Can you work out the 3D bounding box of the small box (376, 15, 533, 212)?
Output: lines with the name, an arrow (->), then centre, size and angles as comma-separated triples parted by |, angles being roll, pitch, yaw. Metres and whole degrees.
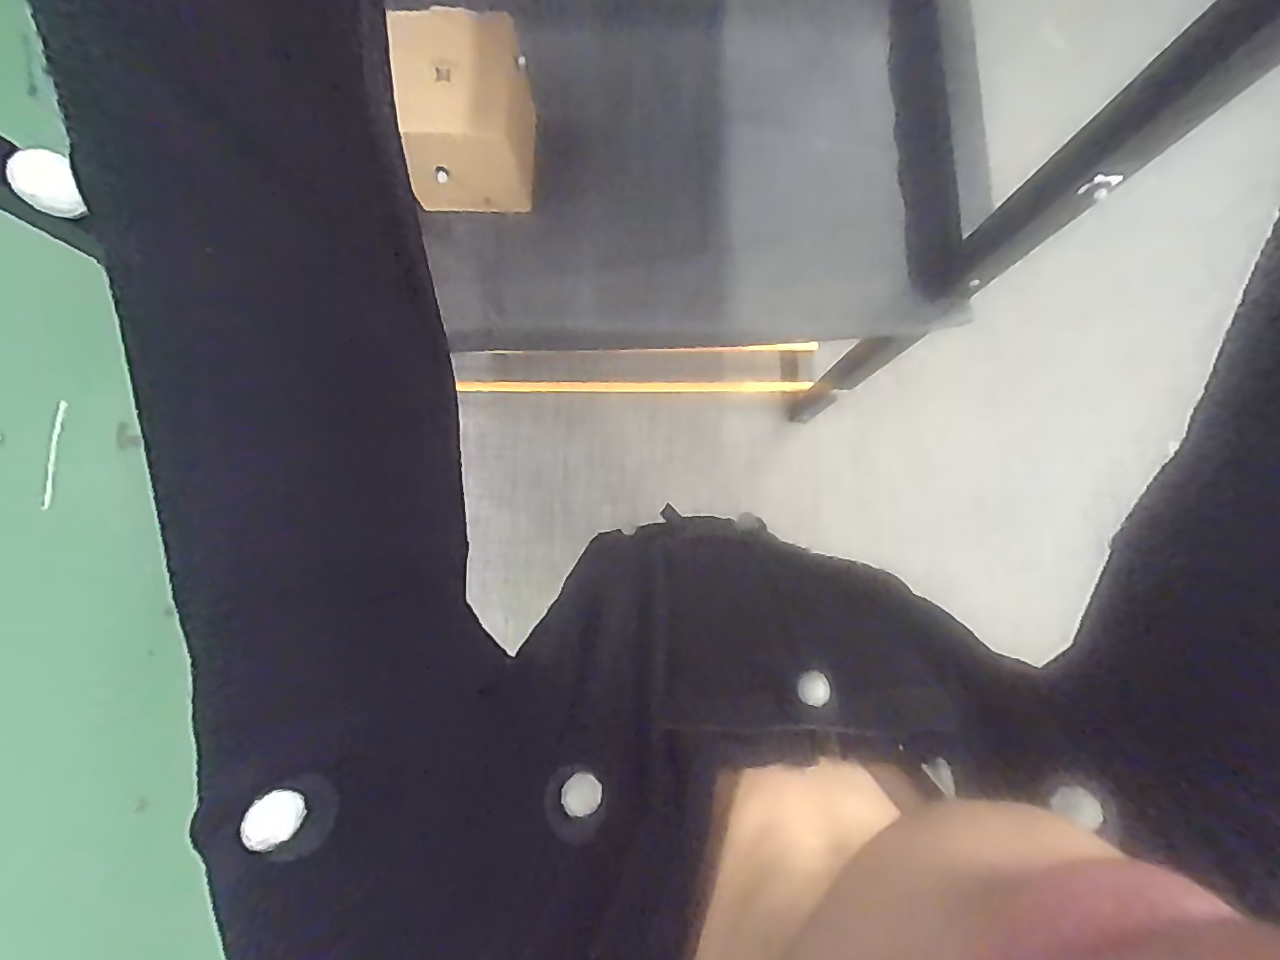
small box -> -0.252, -0.509, 0.772 | 0.168, 0.176, 0.179 | 1, 82, 0
